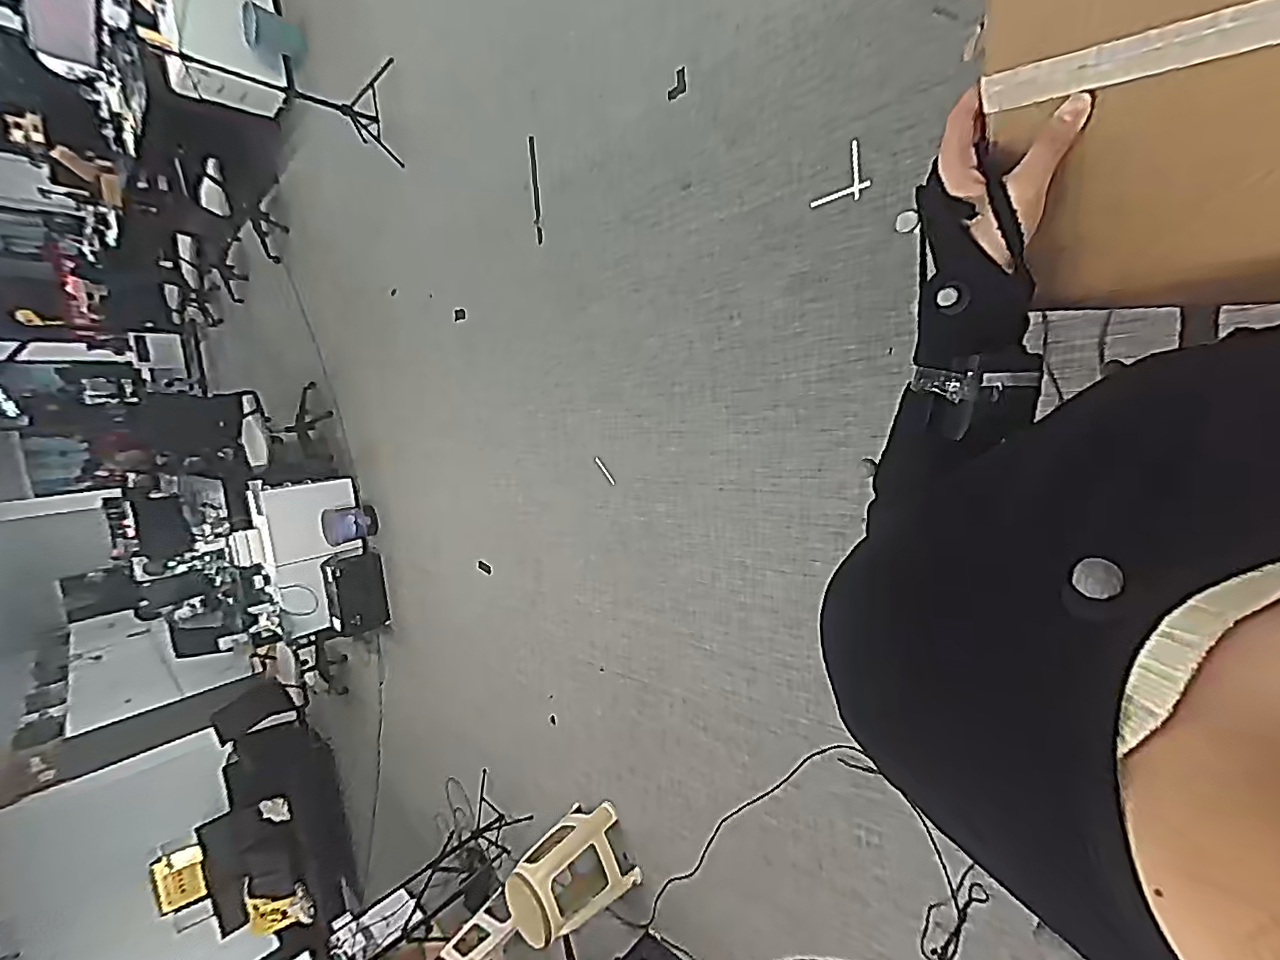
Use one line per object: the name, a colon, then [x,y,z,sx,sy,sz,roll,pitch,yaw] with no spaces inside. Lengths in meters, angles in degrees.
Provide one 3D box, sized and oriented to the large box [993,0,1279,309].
large box: [0.451,-0.322,0.281,0.408,0.320,0.320,11,143,41]
